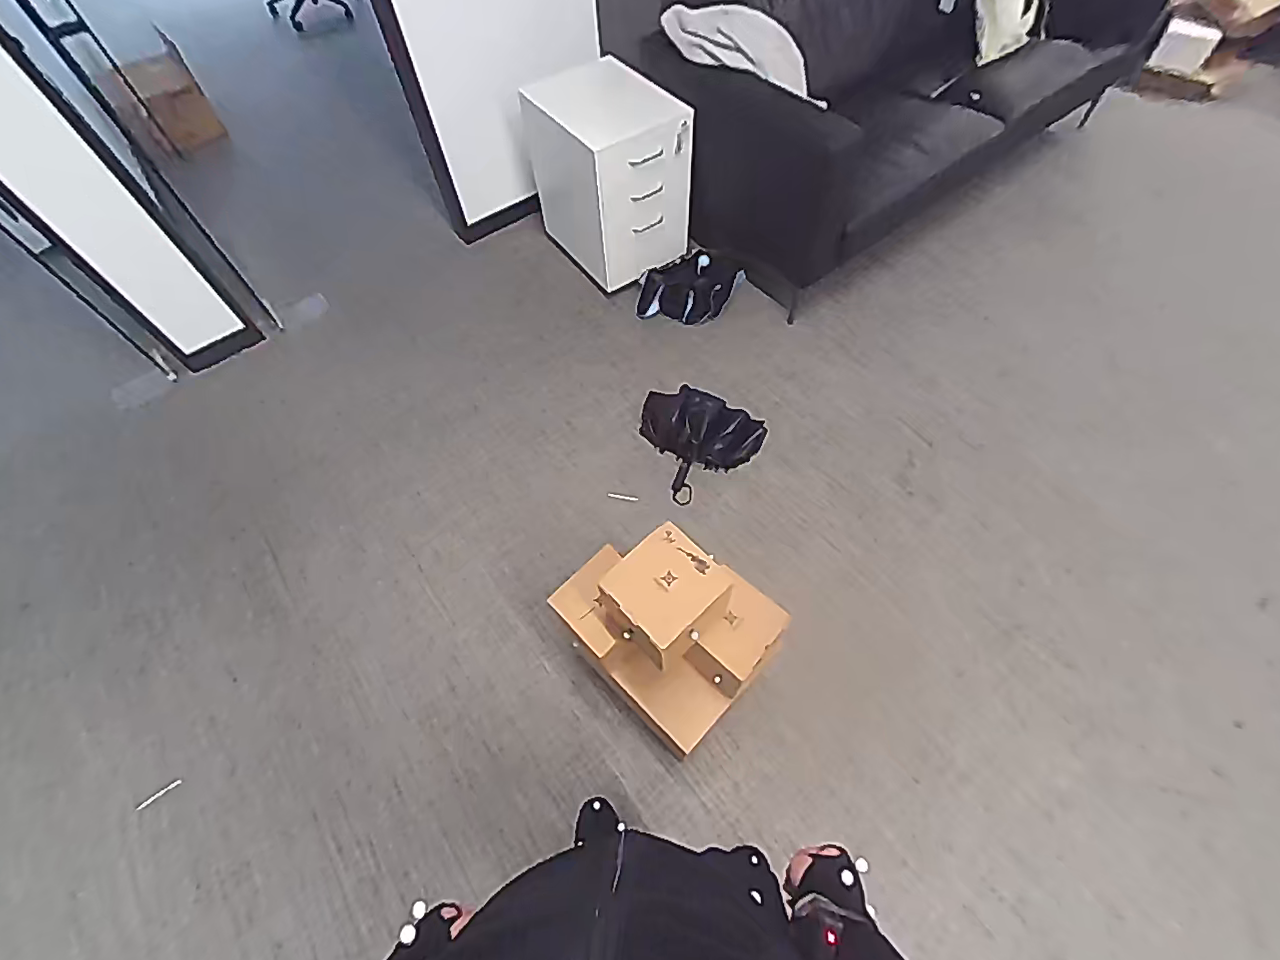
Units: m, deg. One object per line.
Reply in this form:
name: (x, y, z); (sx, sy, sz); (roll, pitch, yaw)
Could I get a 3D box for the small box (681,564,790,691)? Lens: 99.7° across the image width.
small box: (0.179, 0.314, 1.125); (0.179, 0.176, 0.168); (37, 64, 23)

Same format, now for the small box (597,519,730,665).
small box: (0.047, 0.212, 0.997); (0.179, 0.176, 0.168); (-39, 65, -17)

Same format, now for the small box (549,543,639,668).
small box: (-0.065, 0.273, 1.160); (0.179, 0.176, 0.168); (-41, 66, -17)
